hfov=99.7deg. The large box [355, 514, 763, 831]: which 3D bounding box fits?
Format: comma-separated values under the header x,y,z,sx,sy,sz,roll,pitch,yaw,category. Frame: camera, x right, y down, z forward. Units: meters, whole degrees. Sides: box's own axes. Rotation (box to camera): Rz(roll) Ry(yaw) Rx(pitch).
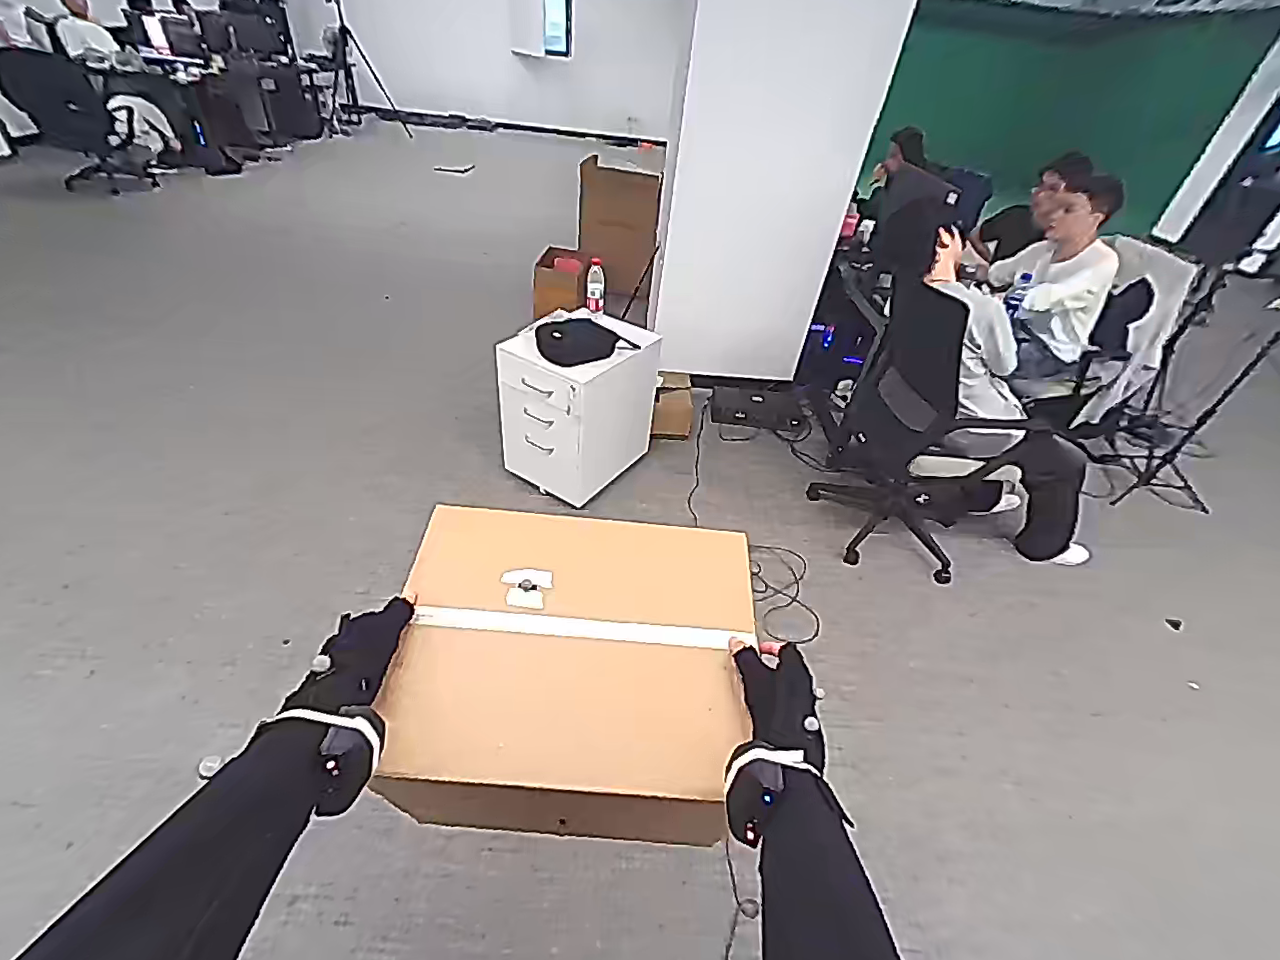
x,y,z,sx,sy,sz,roll,pitch,yaw,category
-0.080,0.270,0.730,0.408,0.320,0.320,5,49,-2,large box
